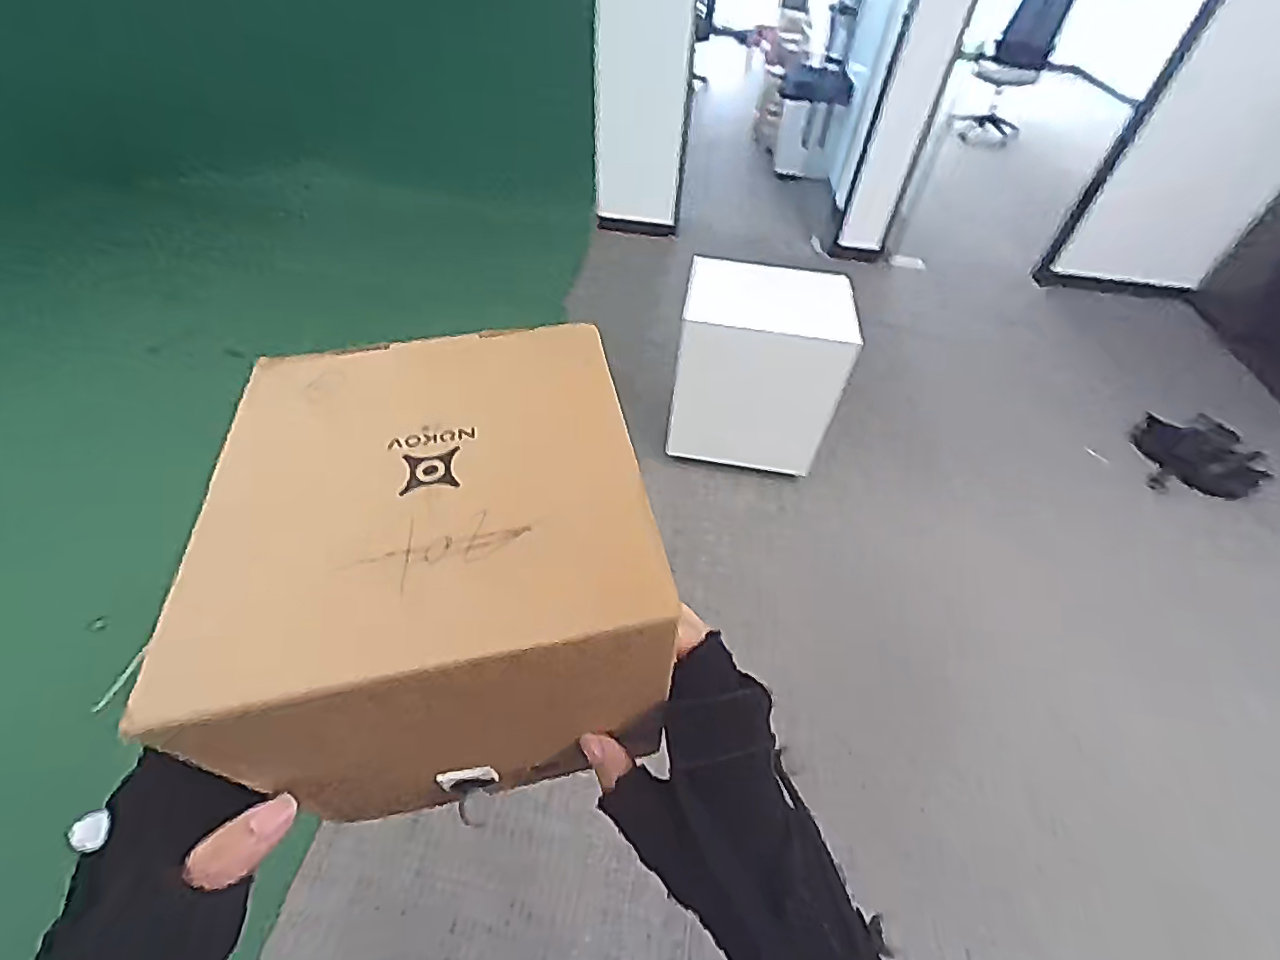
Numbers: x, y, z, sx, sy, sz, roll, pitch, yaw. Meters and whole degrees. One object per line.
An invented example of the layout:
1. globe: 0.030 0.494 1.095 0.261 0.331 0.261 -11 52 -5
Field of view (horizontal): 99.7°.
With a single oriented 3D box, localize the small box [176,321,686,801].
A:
1. small box: -0.081 0.043 0.289 0.168 0.176 0.179 -11 52 -8
